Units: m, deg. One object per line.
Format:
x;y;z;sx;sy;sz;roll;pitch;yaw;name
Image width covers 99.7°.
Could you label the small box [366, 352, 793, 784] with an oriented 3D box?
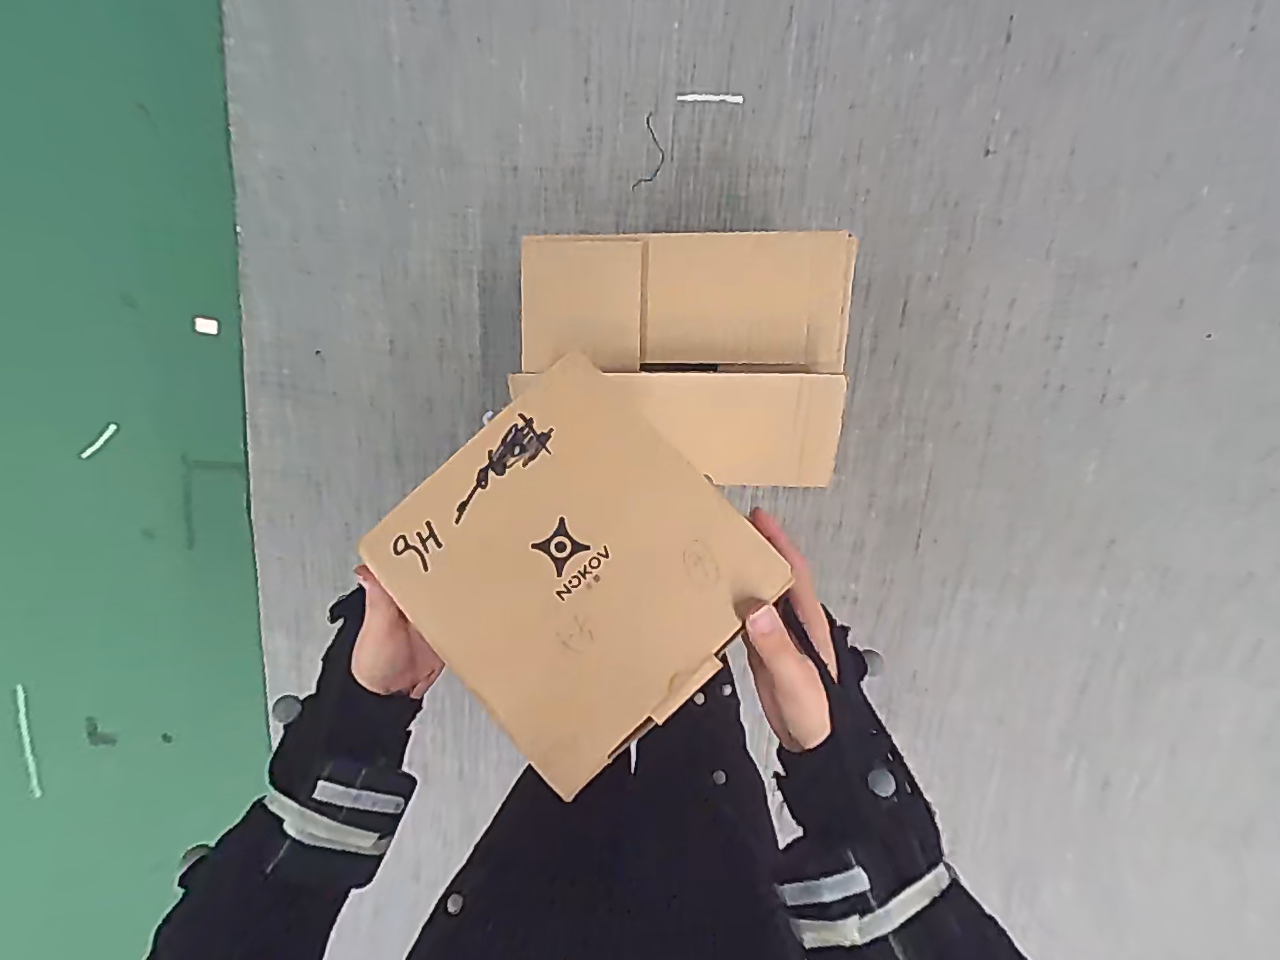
-0.031;0.051;0.369;0.168;0.176;0.179;-43;83;-4;small box
